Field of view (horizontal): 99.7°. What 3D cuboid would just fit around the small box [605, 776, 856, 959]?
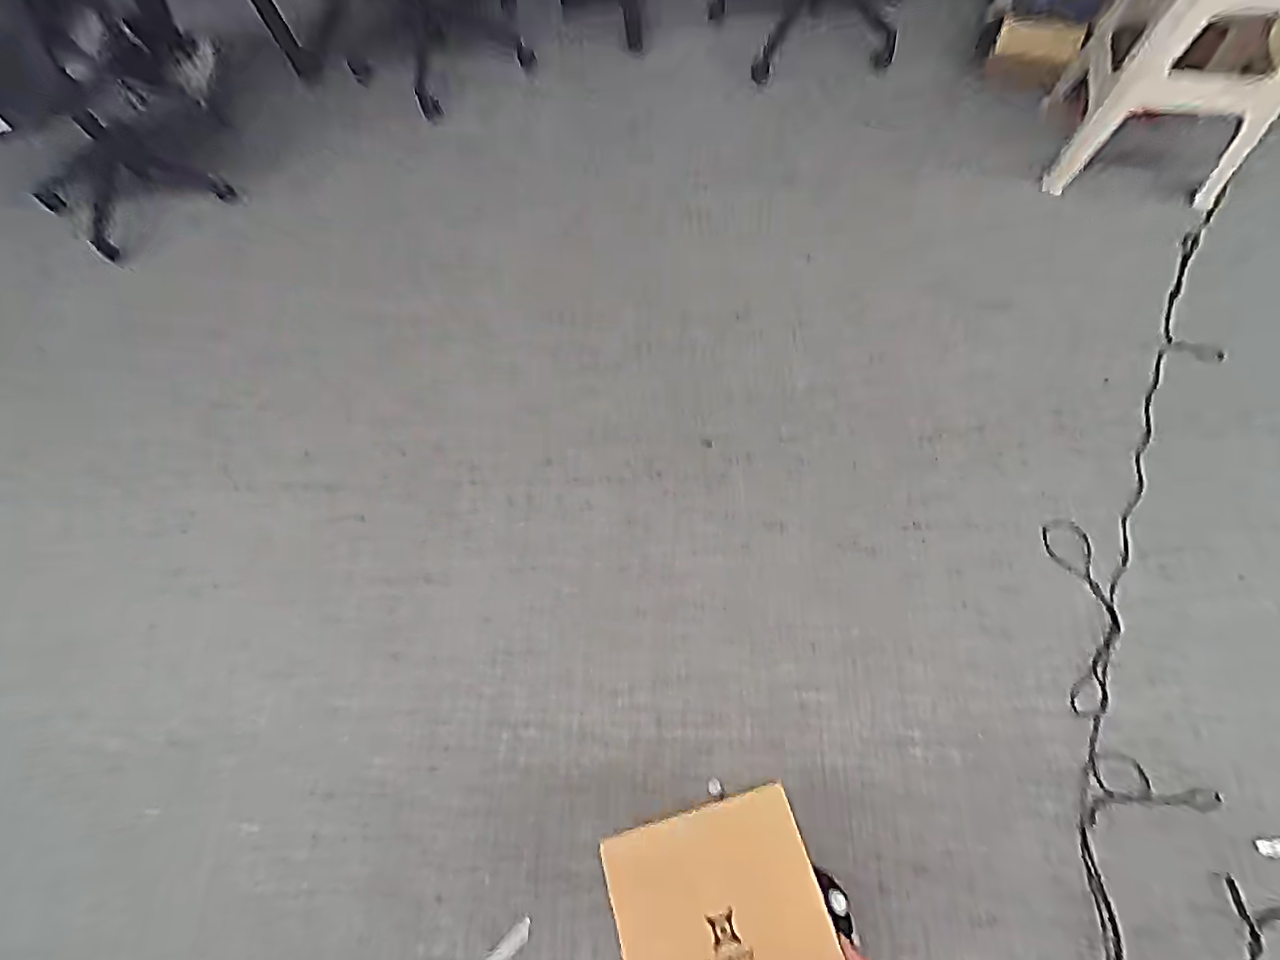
[{"bbox_3d":[0.083,0.379,0.473,0.168,0.176,0.179,-20,60,1],"label":"small box"}]
